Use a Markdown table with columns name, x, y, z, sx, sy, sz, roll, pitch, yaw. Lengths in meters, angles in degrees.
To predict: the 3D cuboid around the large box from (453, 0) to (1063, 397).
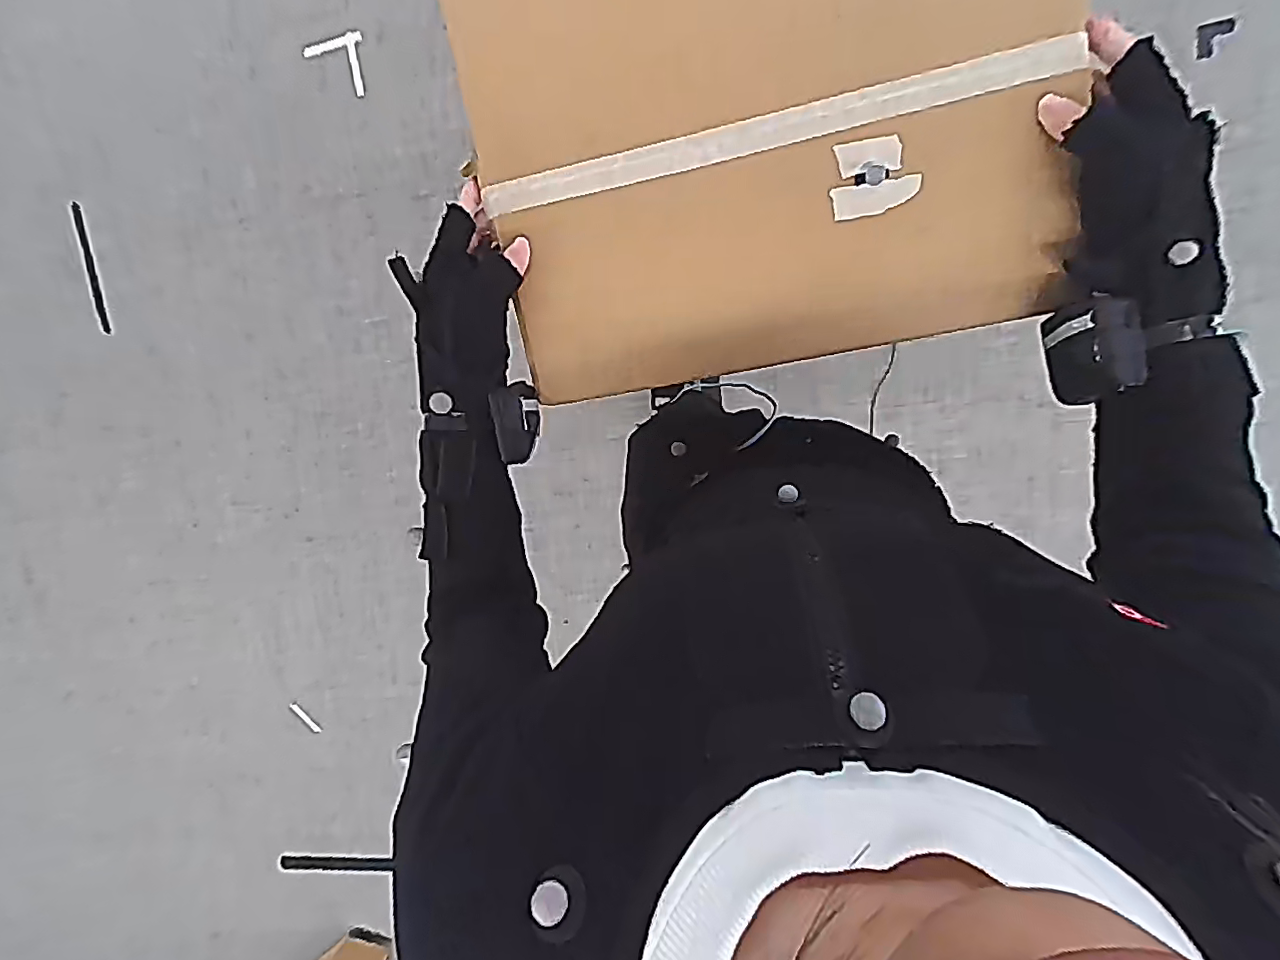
| name | x | y | z | sx | sy | sz | roll | pitch | yaw |
| --- | --- | --- | --- | --- | --- | --- | --- | --- | --- |
| large box | 0.100 | -0.284 | 0.534 | 0.408 | 0.320 | 0.320 | -9 | 104 | 8 |
